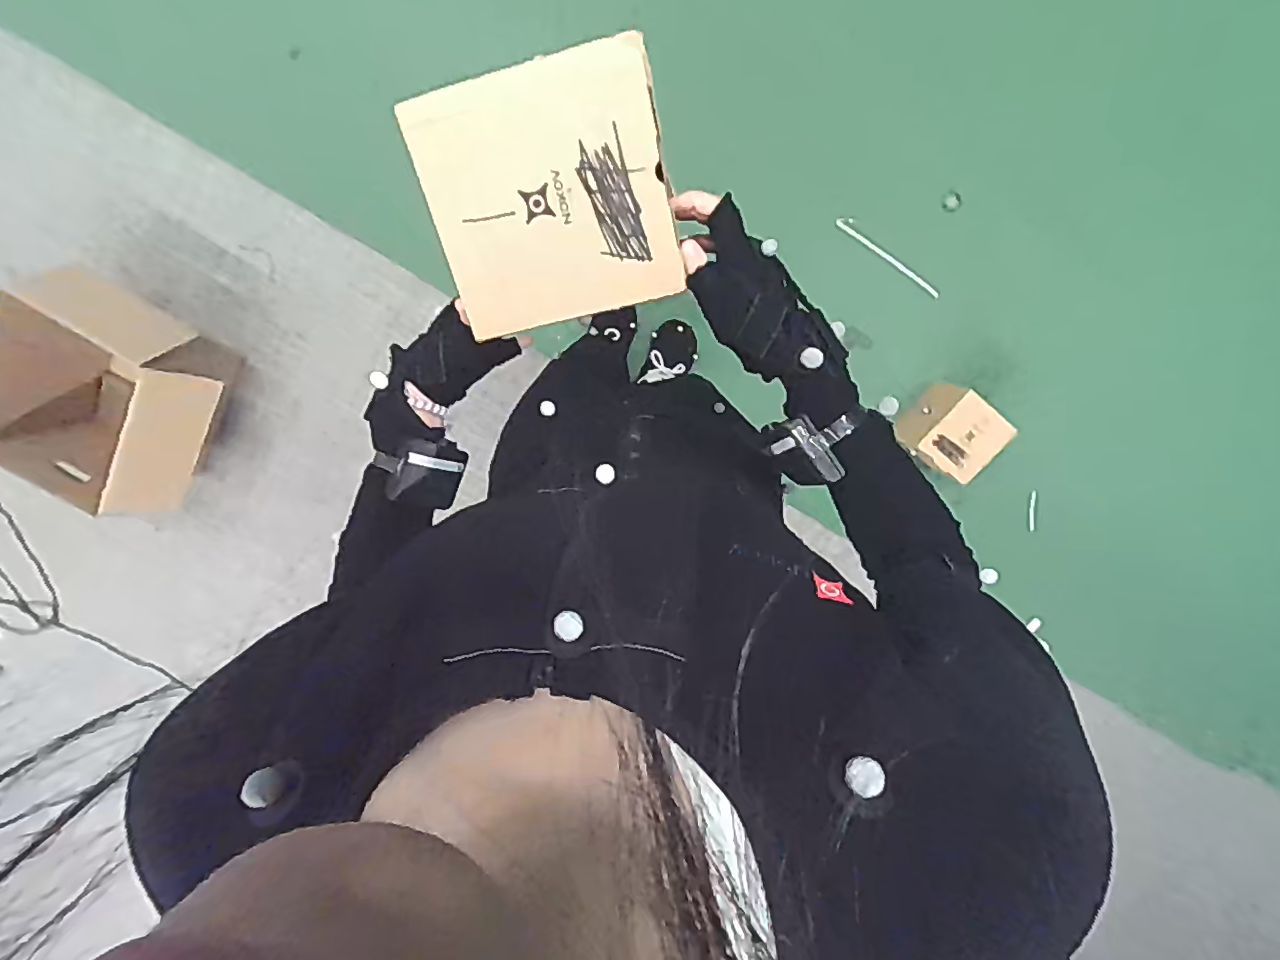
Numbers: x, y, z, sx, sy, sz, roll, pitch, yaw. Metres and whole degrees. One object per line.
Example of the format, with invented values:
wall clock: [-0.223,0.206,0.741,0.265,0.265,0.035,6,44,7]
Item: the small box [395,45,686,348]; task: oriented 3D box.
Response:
small box: [-0.064,-0.226,0.461,0.179,0.176,0.168,-12,113,8]
